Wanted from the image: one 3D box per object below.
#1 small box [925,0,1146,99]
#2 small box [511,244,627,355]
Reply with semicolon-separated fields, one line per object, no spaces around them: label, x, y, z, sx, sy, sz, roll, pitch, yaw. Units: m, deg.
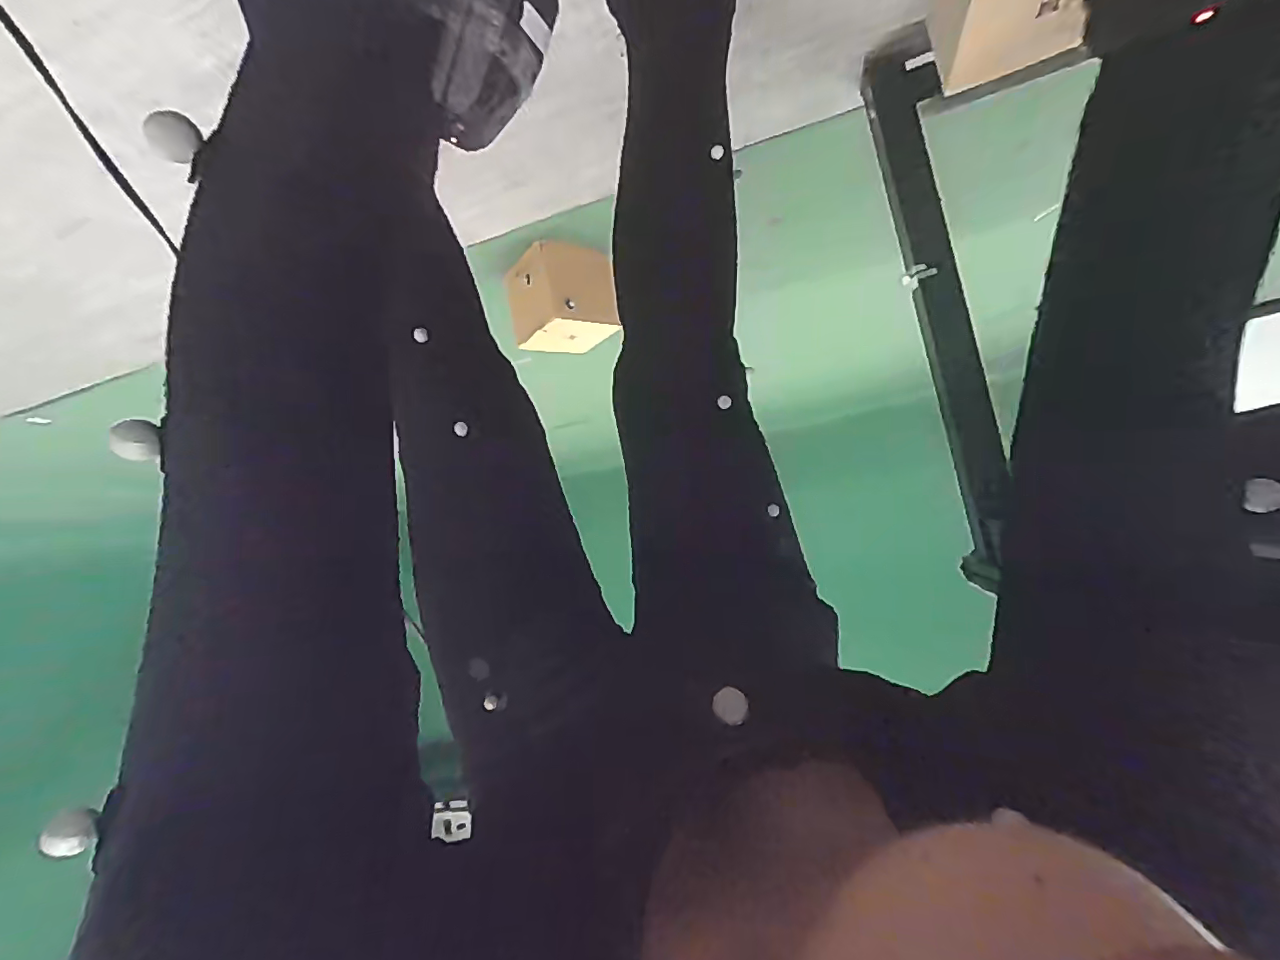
small box;0.392;-0.539;0.529;0.179;0.176;0.168;-13;175;20
small box;-0.156;-0.380;1.160;0.179;0.176;0.168;-6;173;-39
